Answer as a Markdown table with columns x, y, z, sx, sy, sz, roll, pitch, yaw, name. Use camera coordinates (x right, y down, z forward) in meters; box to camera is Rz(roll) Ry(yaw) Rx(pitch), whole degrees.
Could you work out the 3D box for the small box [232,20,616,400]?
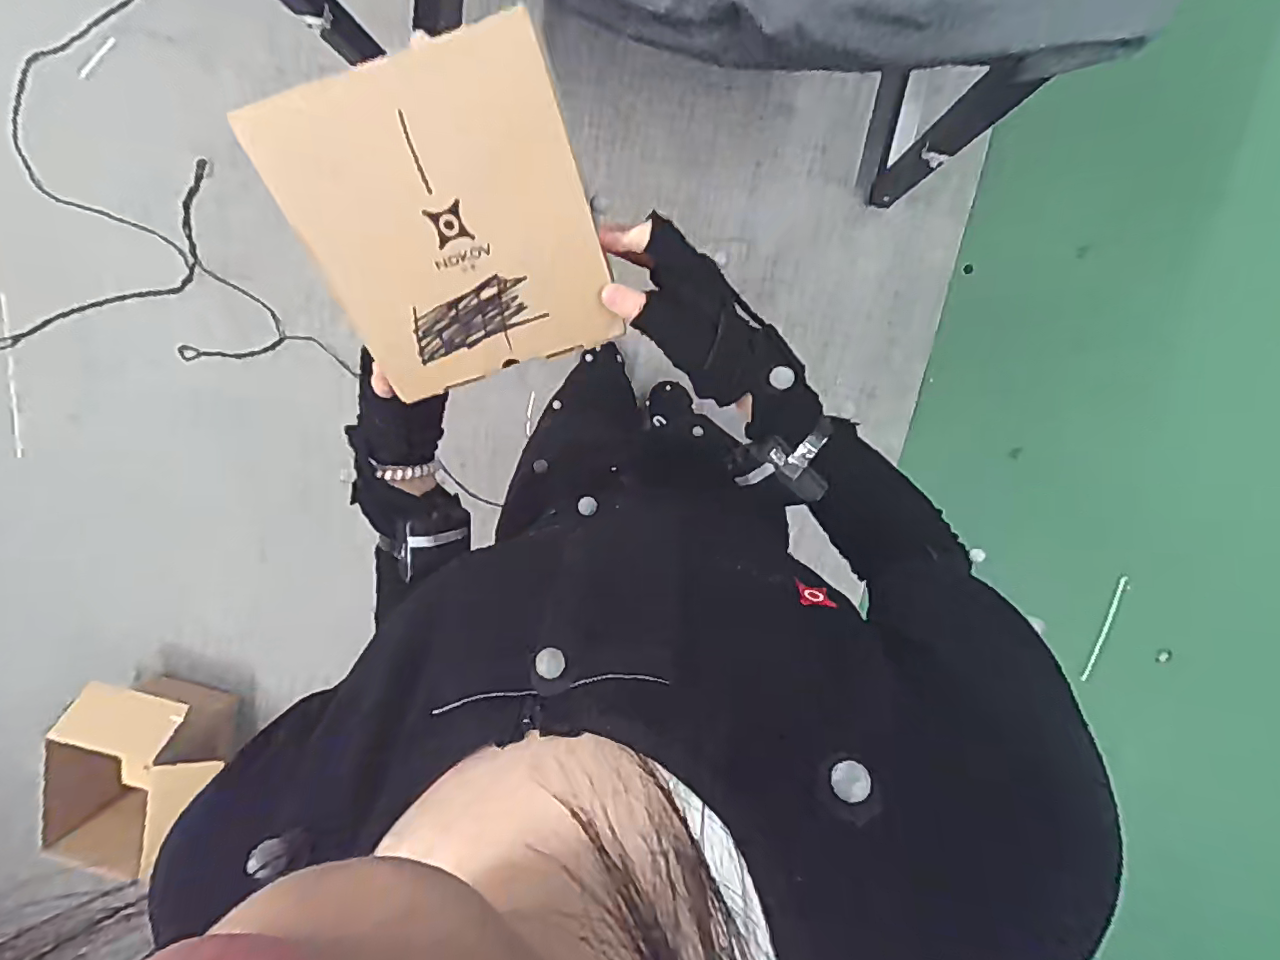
| x | y | z | sx | sy | sz | roll | pitch | yaw | name |
| --- | --- | --- | --- | --- | --- | --- | --- | --- | --- |
| -0.121 | -0.189 | 0.388 | 0.168 | 0.176 | 0.179 | -17 | 125 | 4 | small box |
